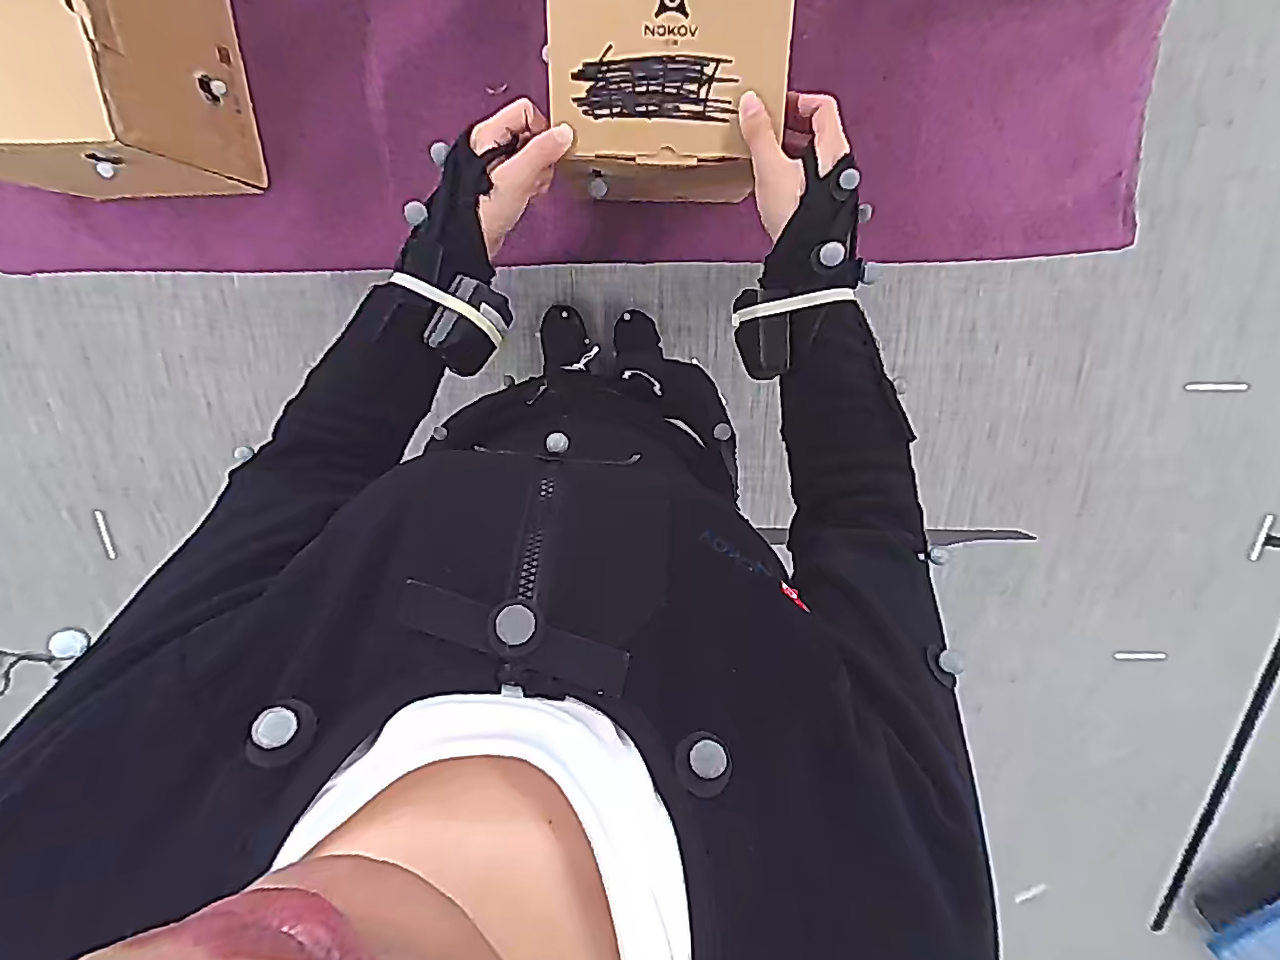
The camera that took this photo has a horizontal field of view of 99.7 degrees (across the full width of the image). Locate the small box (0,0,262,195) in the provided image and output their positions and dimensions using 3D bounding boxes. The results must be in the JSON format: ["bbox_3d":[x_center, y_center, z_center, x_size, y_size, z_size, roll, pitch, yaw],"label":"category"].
[{"bbox_3d":[-0.454,-0.335,0.429,0.179,0.176,0.168,-3,107,-1],"label":"small box"}]
